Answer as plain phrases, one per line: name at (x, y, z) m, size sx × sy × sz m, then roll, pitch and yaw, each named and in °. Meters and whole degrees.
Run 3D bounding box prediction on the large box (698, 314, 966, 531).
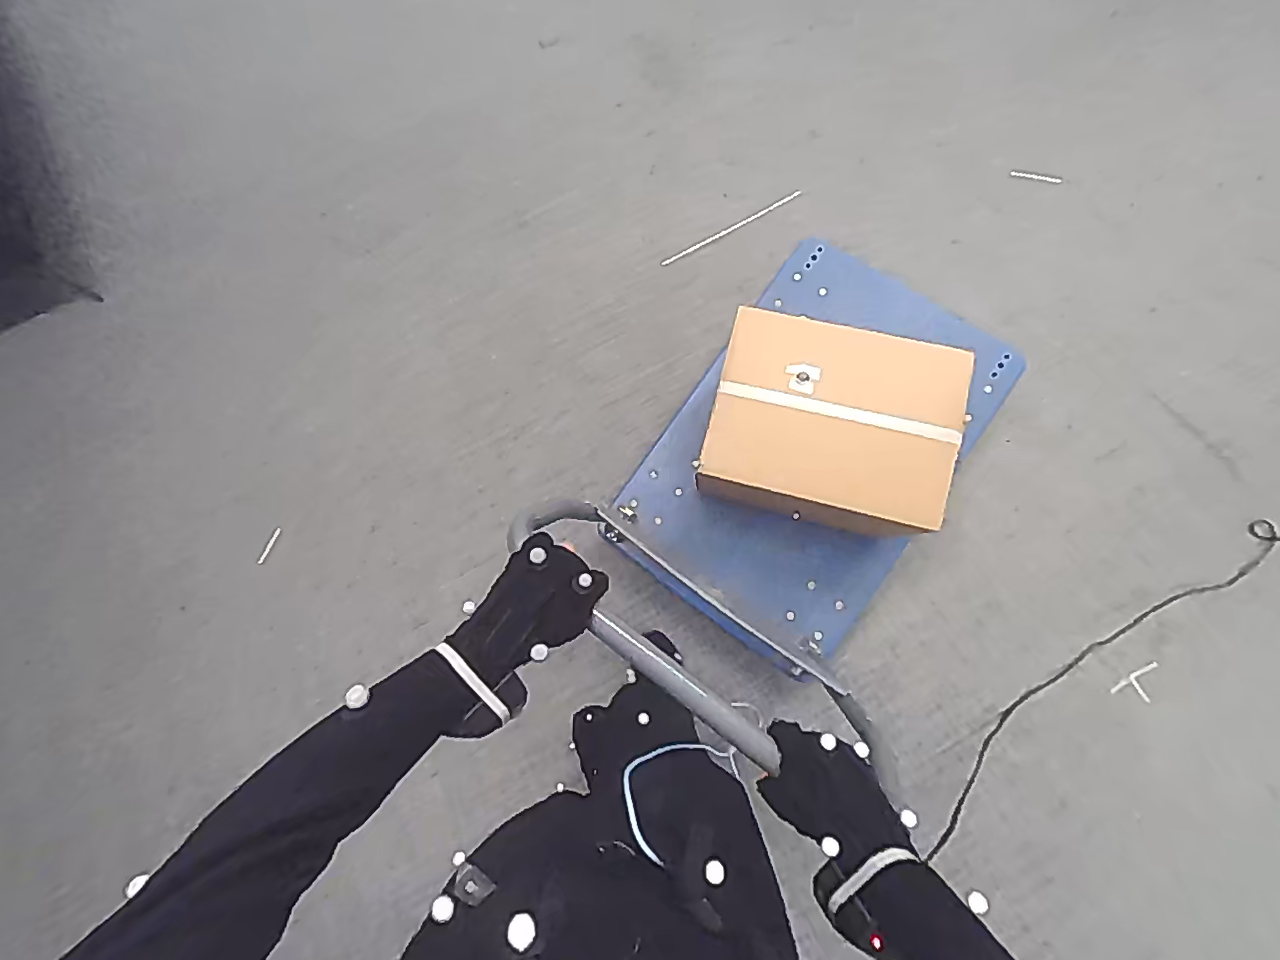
large box at (0.349, -0.093, 1.076) m, size 0.408 × 0.320 × 0.320 m, roll 14°, pitch 83°, yaw 10°
